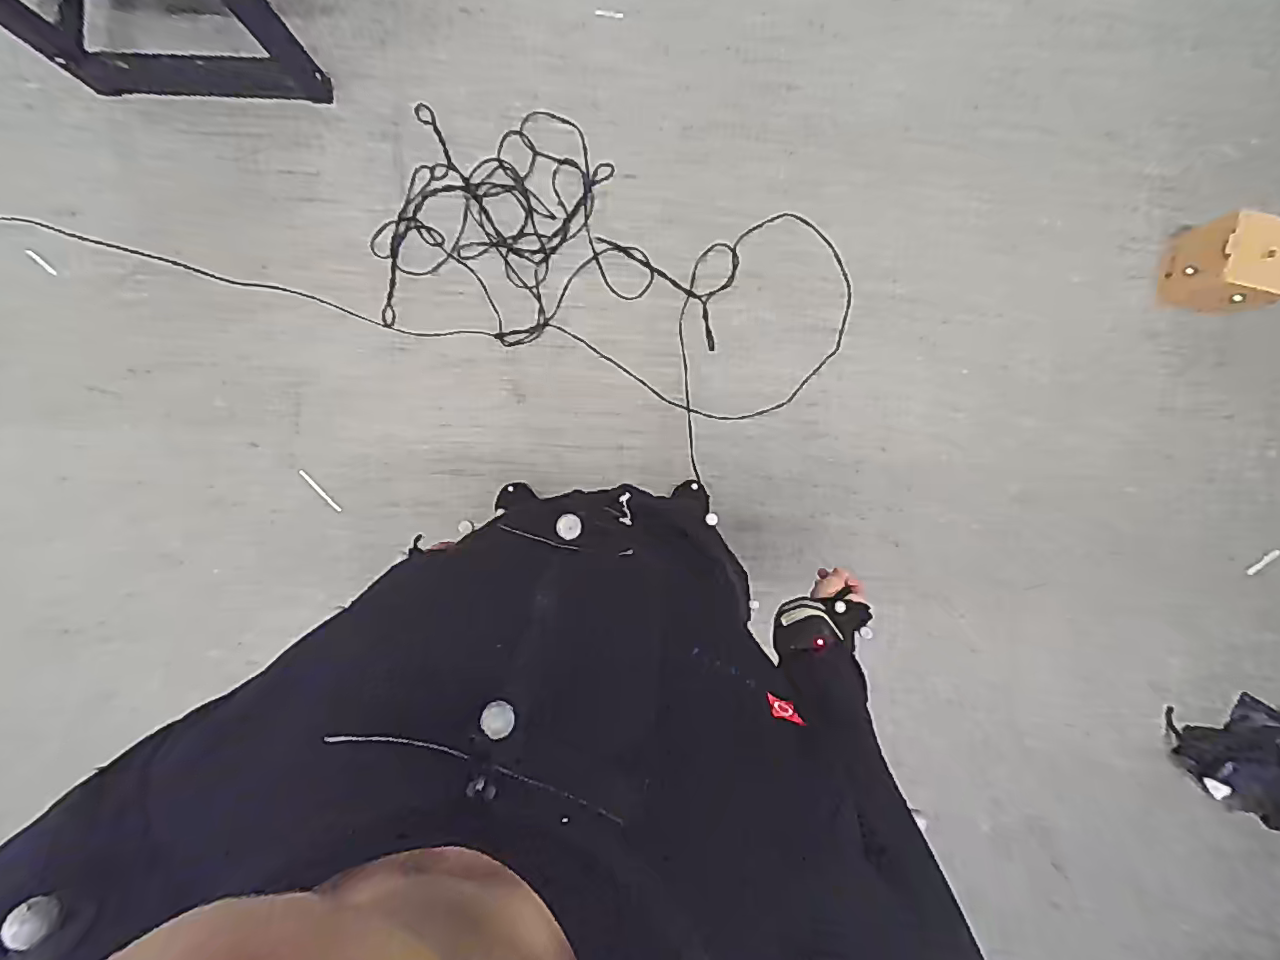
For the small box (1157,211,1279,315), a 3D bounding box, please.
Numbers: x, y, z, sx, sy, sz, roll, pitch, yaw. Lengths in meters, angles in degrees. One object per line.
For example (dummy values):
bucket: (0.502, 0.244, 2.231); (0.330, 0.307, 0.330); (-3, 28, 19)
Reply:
small box: (1.400, -0.506, 1.285); (0.179, 0.176, 0.168); (12, 92, -2)
